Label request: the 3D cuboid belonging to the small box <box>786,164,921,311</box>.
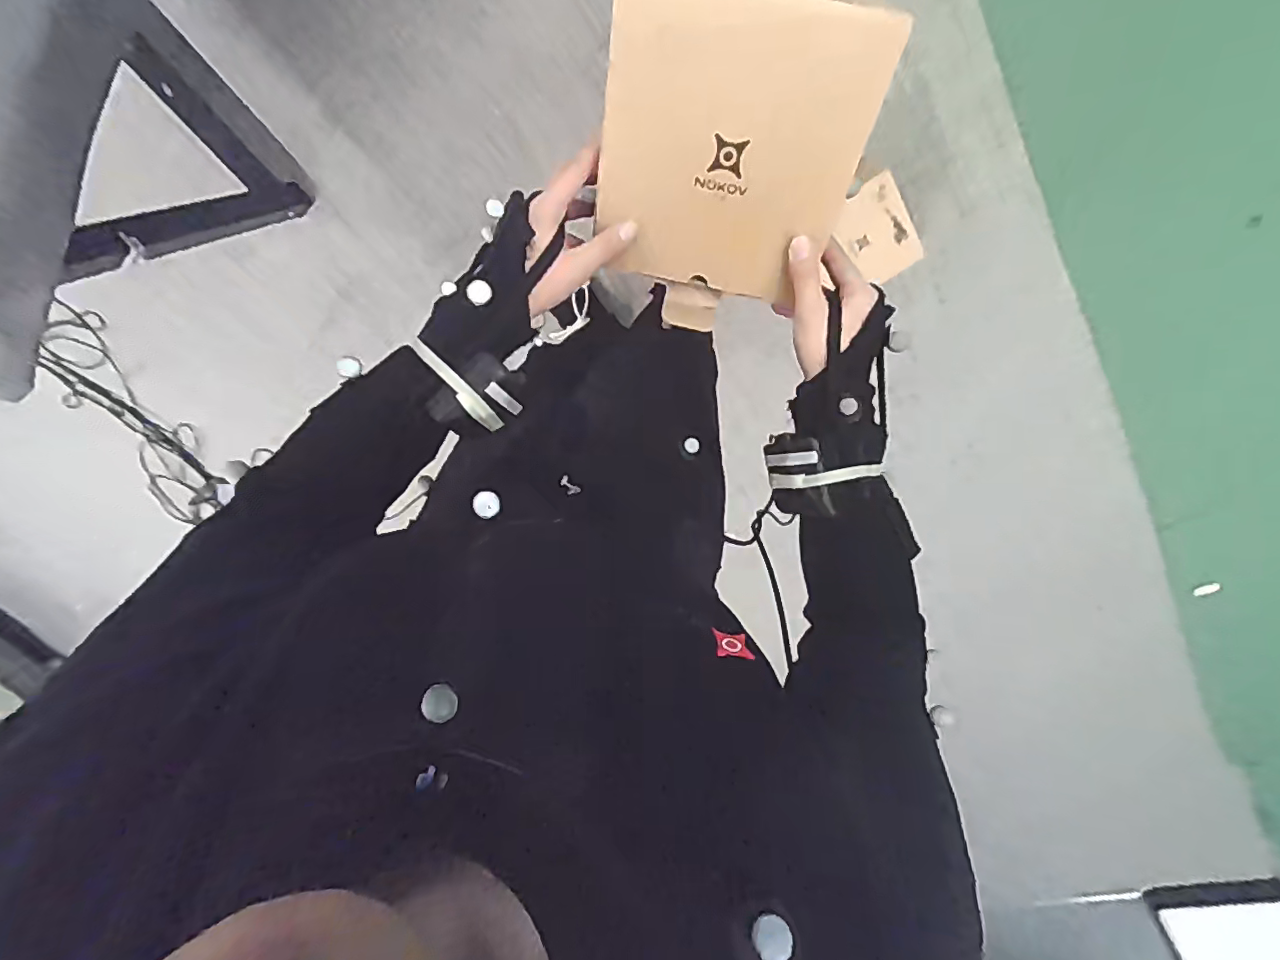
[{"bbox_3d":[0.382,-0.447,0.995,0.179,0.176,0.168,-26,117,26],"label":"small box"}]
